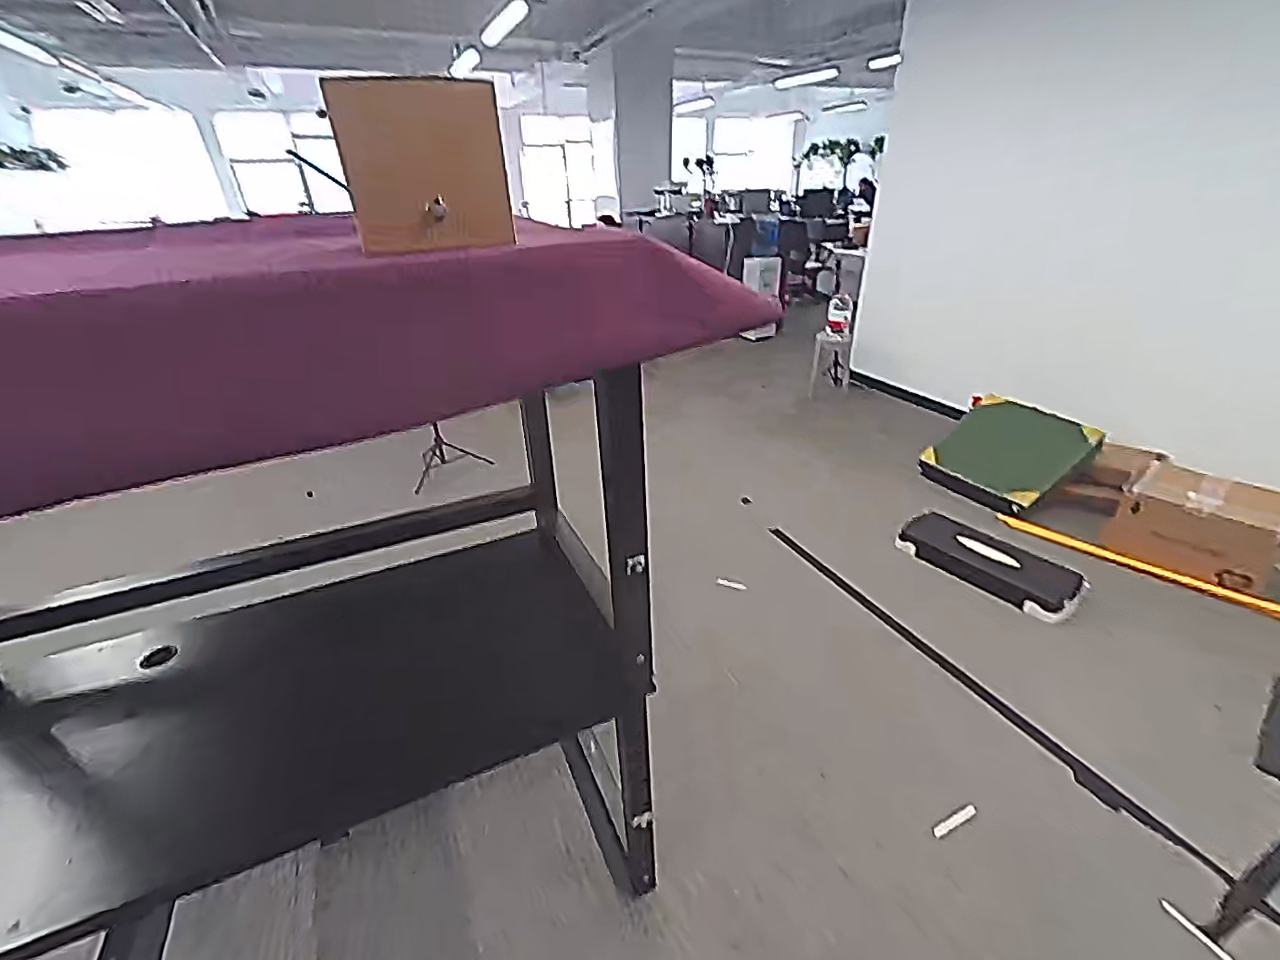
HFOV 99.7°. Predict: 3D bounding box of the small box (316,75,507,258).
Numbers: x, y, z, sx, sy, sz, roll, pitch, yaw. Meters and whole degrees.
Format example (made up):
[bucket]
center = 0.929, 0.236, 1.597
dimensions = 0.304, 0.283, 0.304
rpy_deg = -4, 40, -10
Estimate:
[small box]
center = -0.267, -0.374, 0.660
dimensions = 0.179, 0.176, 0.168
rpy_deg = -13, 30, -19
